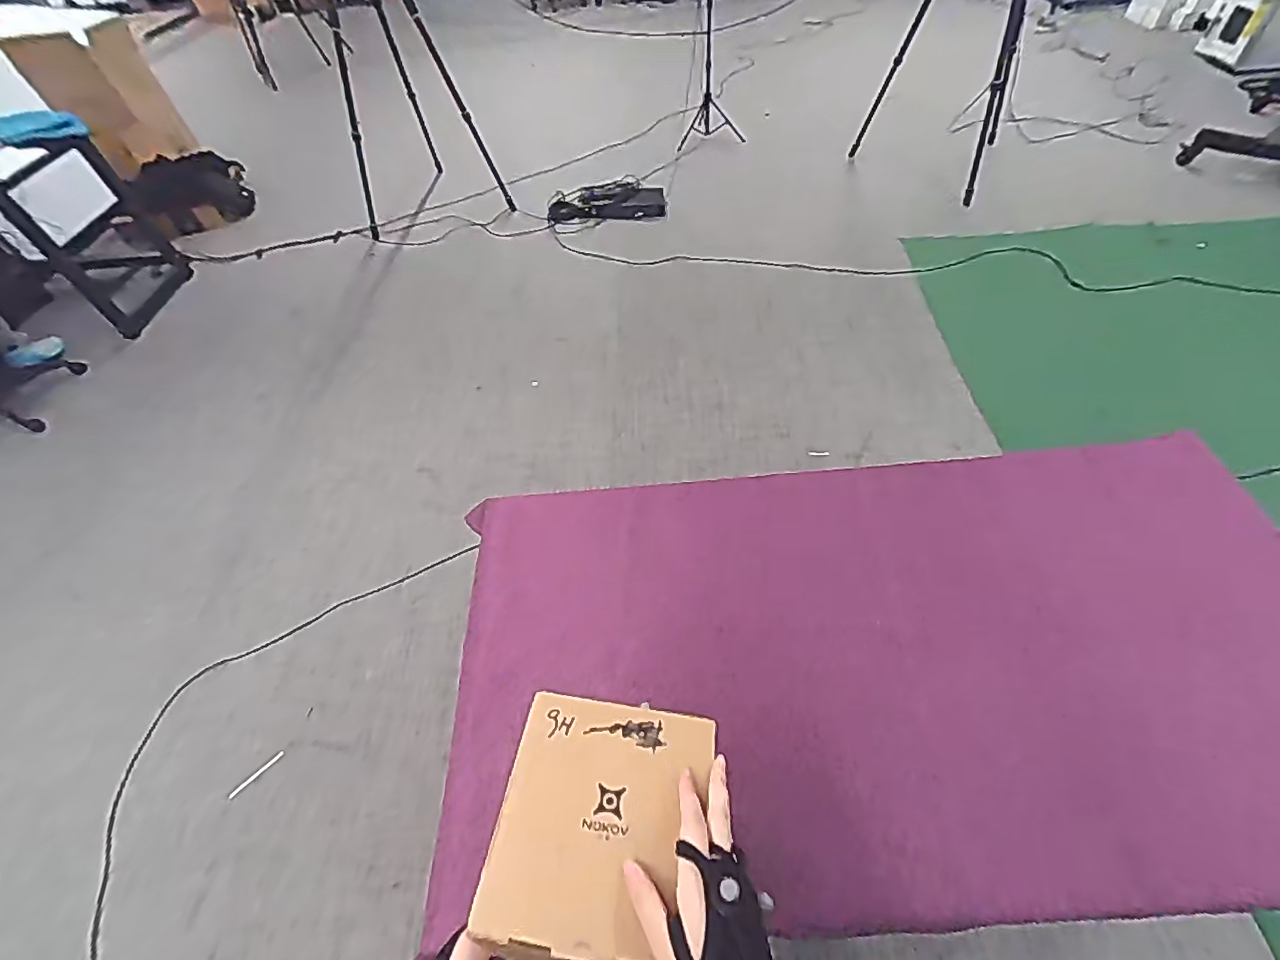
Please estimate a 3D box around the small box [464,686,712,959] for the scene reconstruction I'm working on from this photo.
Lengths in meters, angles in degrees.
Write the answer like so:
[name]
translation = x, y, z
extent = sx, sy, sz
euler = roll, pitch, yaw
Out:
[small box]
translation = -0.033, 0.315, 0.485
extent = 0.168, 0.176, 0.179
euler = 9, 46, 5
